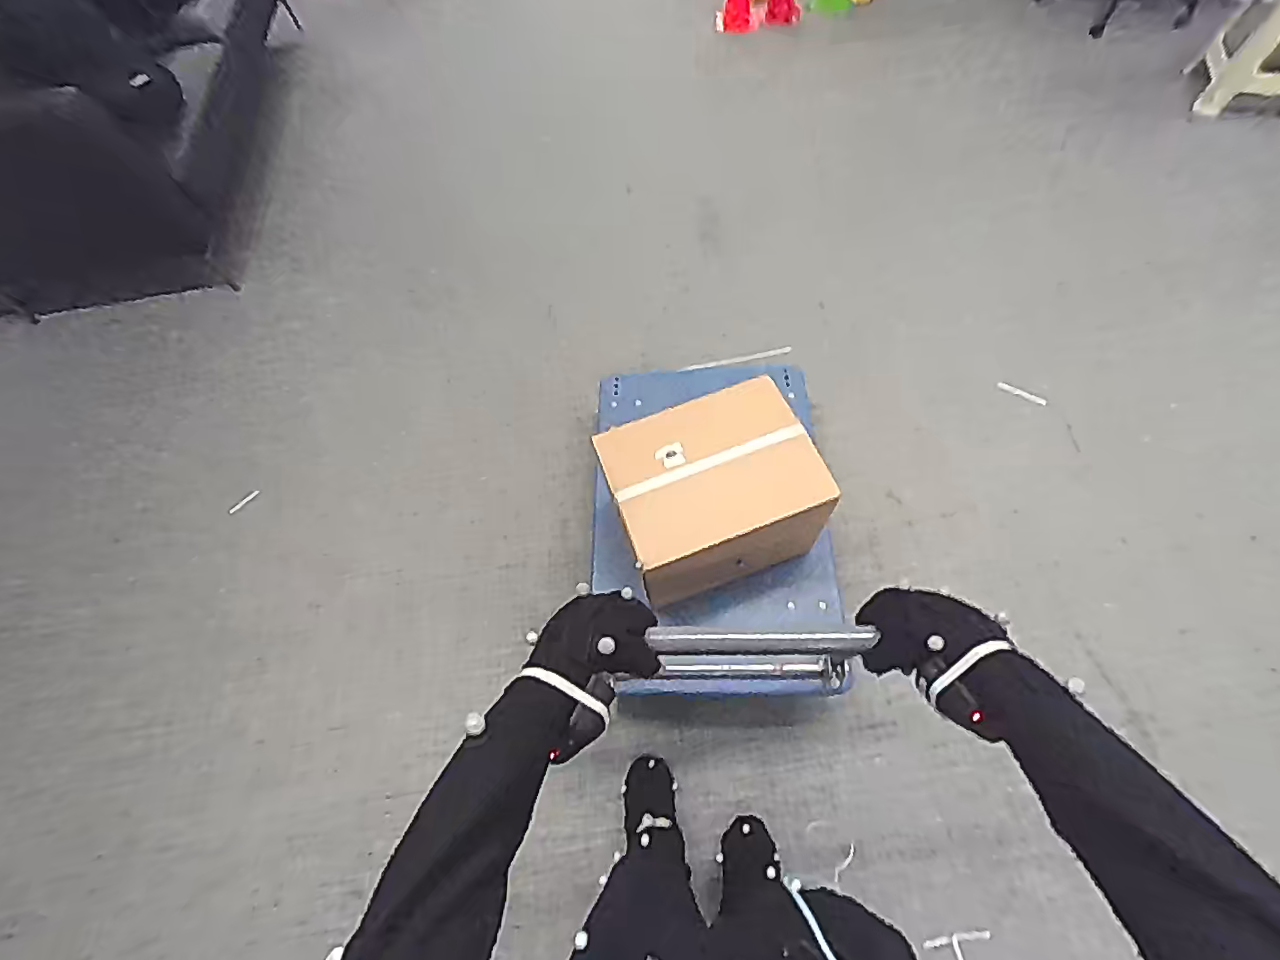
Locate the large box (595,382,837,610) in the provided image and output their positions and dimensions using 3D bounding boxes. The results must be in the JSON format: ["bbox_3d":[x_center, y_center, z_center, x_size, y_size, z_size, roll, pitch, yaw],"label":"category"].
[{"bbox_3d":[0.157,0.048,1.213,0.408,0.320,0.320,-21,62,-5],"label":"large box"}]
